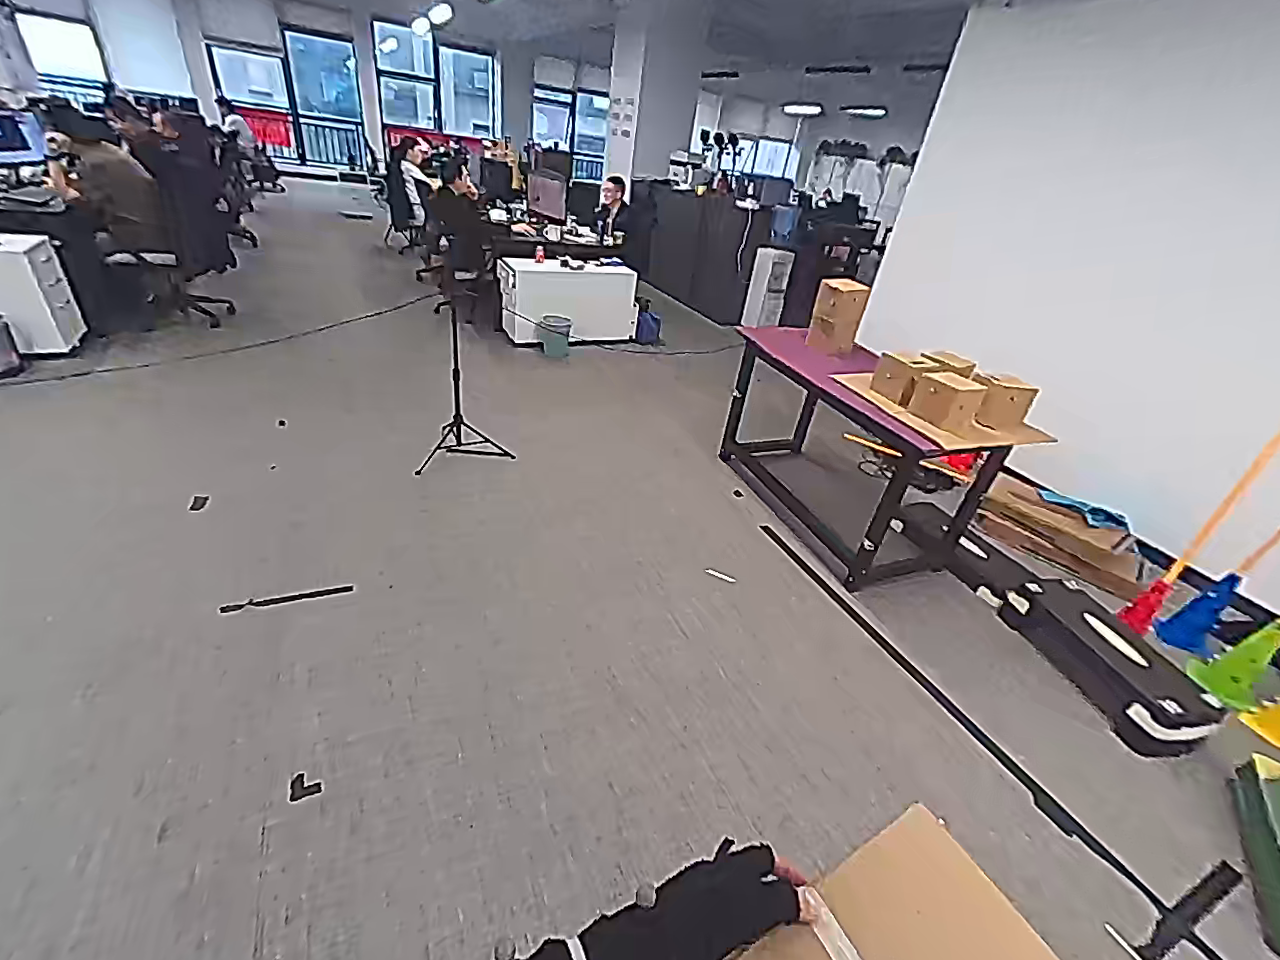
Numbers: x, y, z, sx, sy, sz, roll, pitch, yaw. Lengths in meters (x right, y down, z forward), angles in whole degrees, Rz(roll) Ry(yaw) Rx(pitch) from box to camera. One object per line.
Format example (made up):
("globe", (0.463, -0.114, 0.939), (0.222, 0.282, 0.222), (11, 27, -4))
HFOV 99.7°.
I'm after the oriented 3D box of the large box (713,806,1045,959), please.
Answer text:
("large box", (0.217, 0.582, 0.429), (0.320, 0.320, 0.408), (-16, 44, -27))
